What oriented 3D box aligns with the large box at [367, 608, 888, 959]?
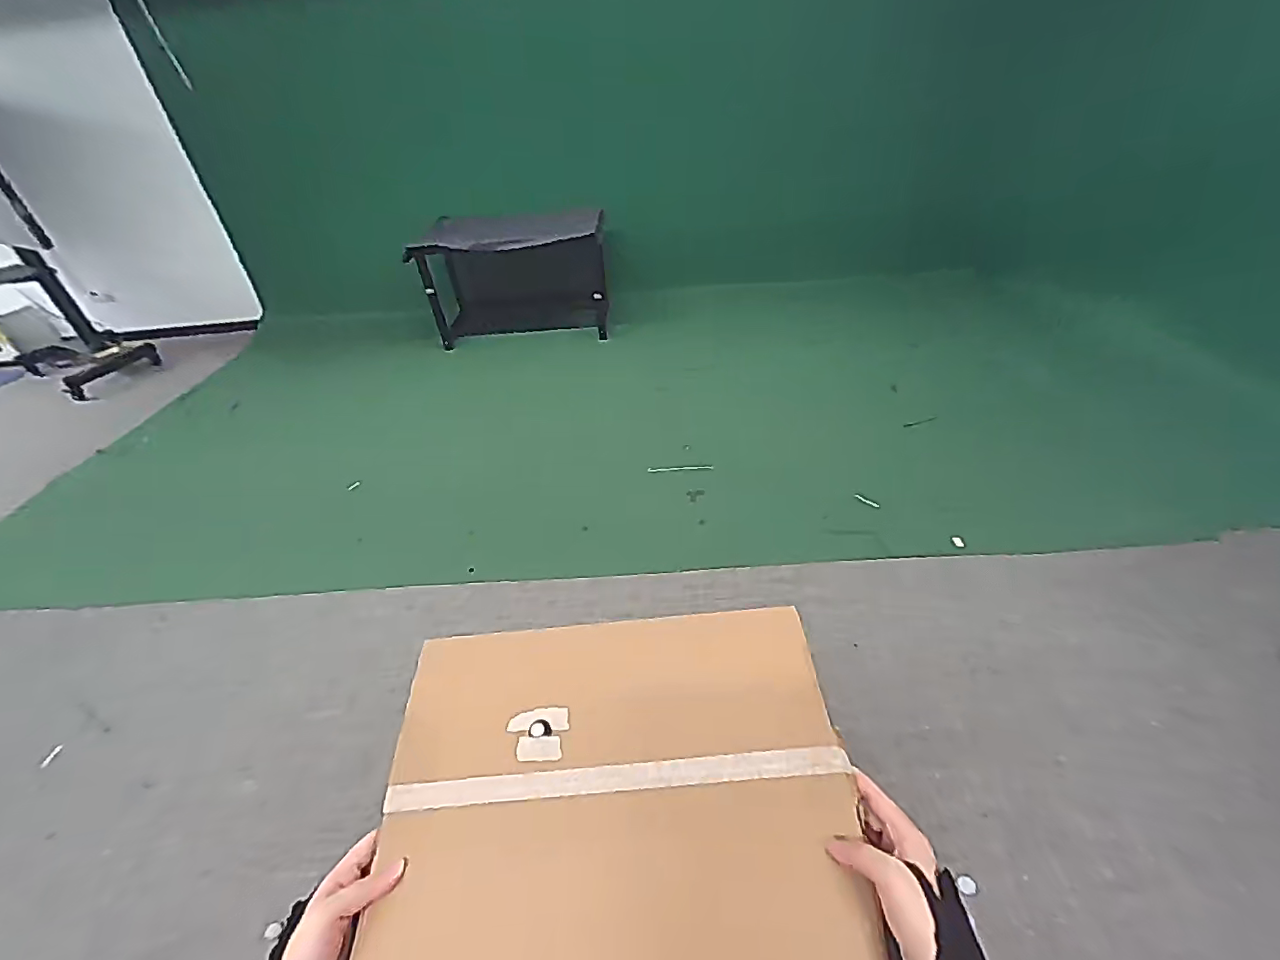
[{"bbox_3d":[-0.007,0.375,0.598,0.408,0.320,0.320,-7,46,3],"label":"large box"}]
